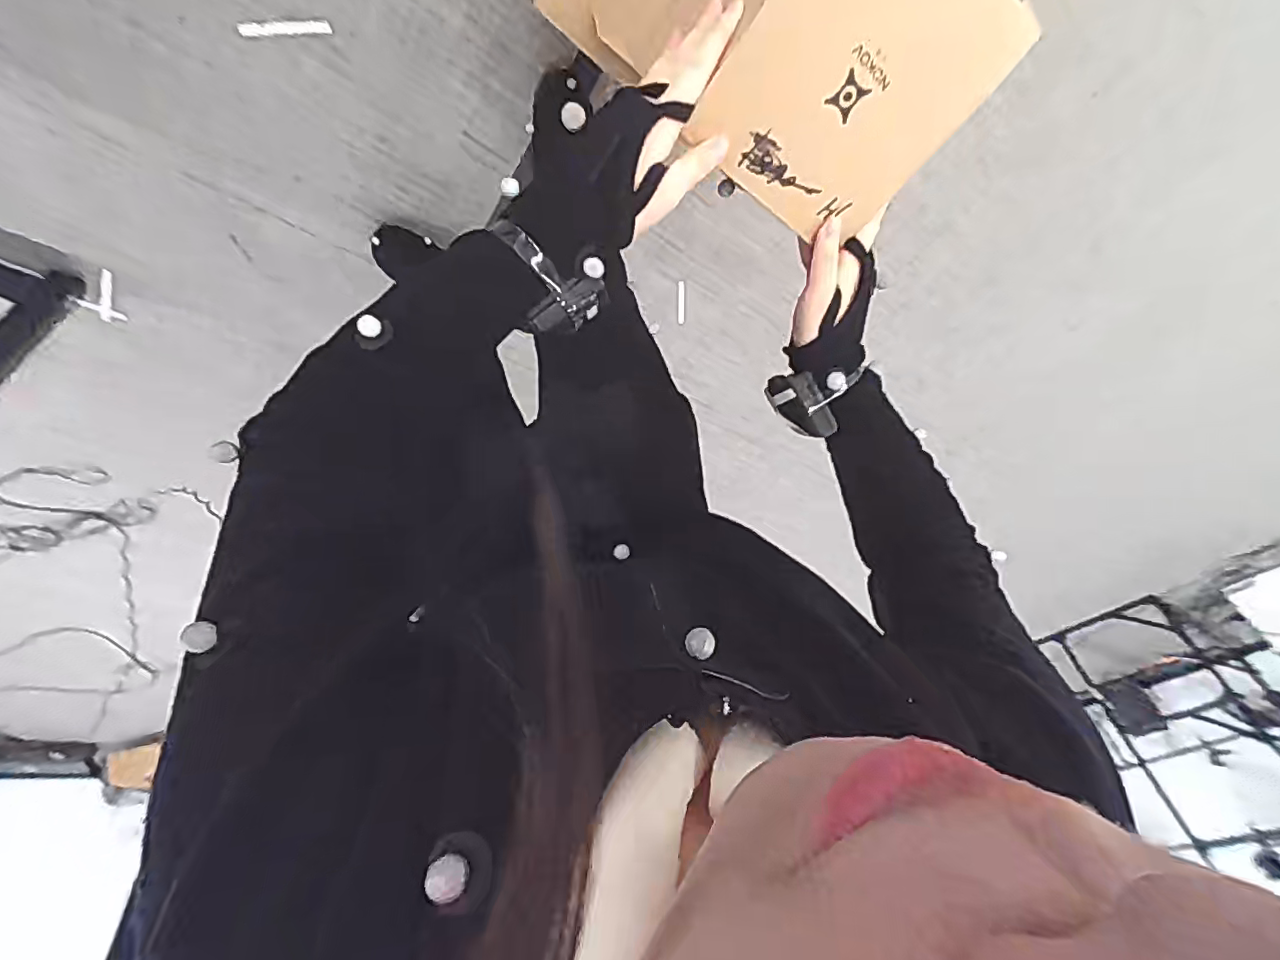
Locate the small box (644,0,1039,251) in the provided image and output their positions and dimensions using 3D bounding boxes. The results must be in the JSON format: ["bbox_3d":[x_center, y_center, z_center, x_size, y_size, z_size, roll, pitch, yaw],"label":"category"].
[{"bbox_3d":[0.123,-0.314,0.389,0.168,0.176,0.179,20,129,-34],"label":"small box"}]

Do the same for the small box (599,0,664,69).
[{"bbox_3d":[0.066,-0.528,0.577,0.168,0.176,0.179,23,131,-31],"label":"small box"}]

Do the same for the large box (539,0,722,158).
[{"bbox_3d":[0.093,-0.746,0.708,0.320,0.320,0.408,22,130,-34],"label":"large box"}]
